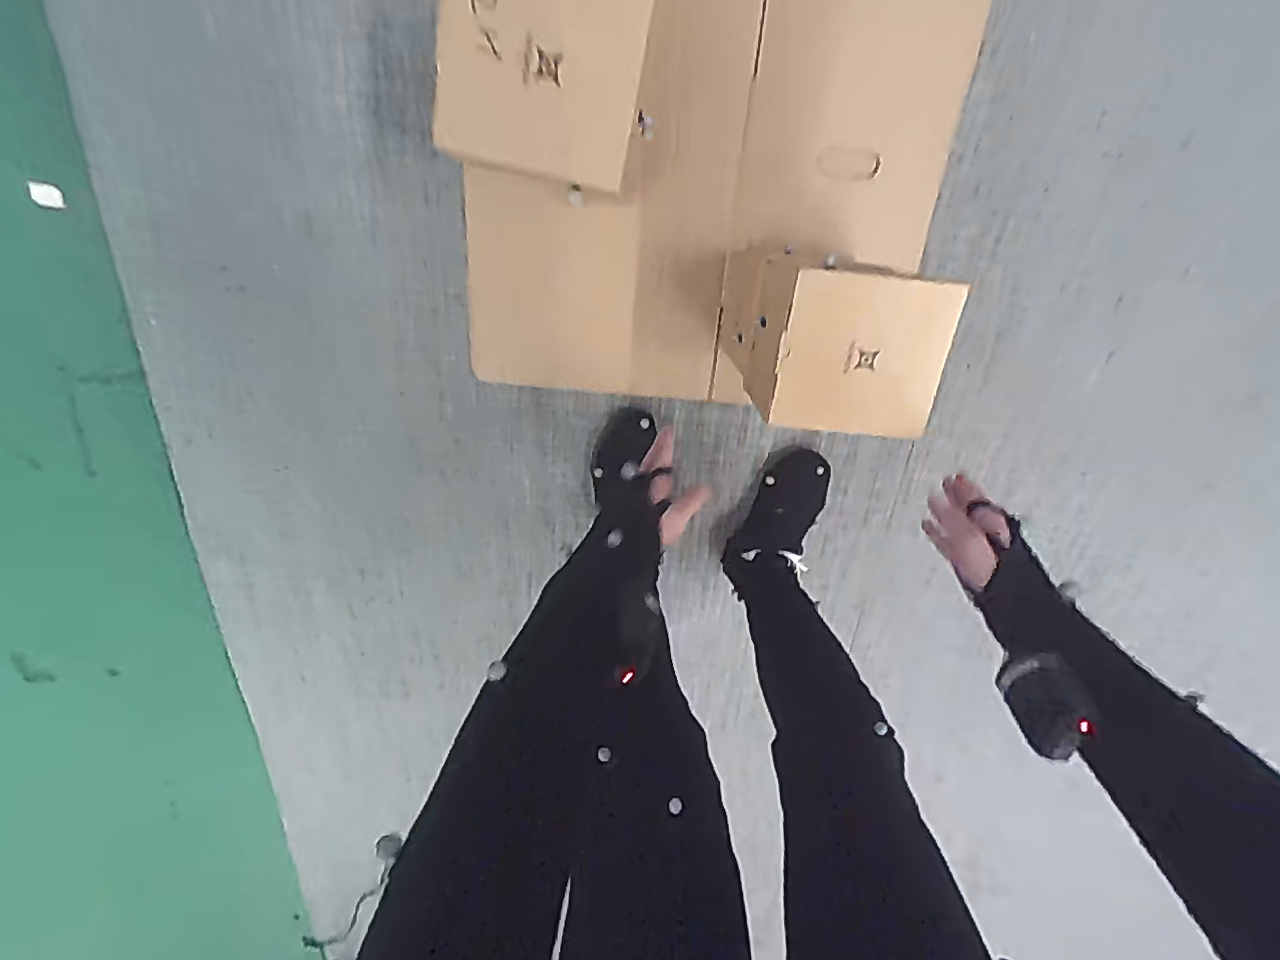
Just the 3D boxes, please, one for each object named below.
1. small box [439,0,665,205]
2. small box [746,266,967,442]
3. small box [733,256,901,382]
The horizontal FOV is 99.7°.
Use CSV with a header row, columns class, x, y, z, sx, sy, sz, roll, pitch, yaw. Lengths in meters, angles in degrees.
class,x,y,z,sx,sy,sz,roll,pitch,yaw
small box,-0.080,-0.384,0.539,0.179,0.176,0.168,12,113,-5
small box,0.236,-0.157,0.643,0.179,0.176,0.168,5,115,0
small box,0.240,-0.229,0.788,0.179,0.176,0.168,6,114,-2
